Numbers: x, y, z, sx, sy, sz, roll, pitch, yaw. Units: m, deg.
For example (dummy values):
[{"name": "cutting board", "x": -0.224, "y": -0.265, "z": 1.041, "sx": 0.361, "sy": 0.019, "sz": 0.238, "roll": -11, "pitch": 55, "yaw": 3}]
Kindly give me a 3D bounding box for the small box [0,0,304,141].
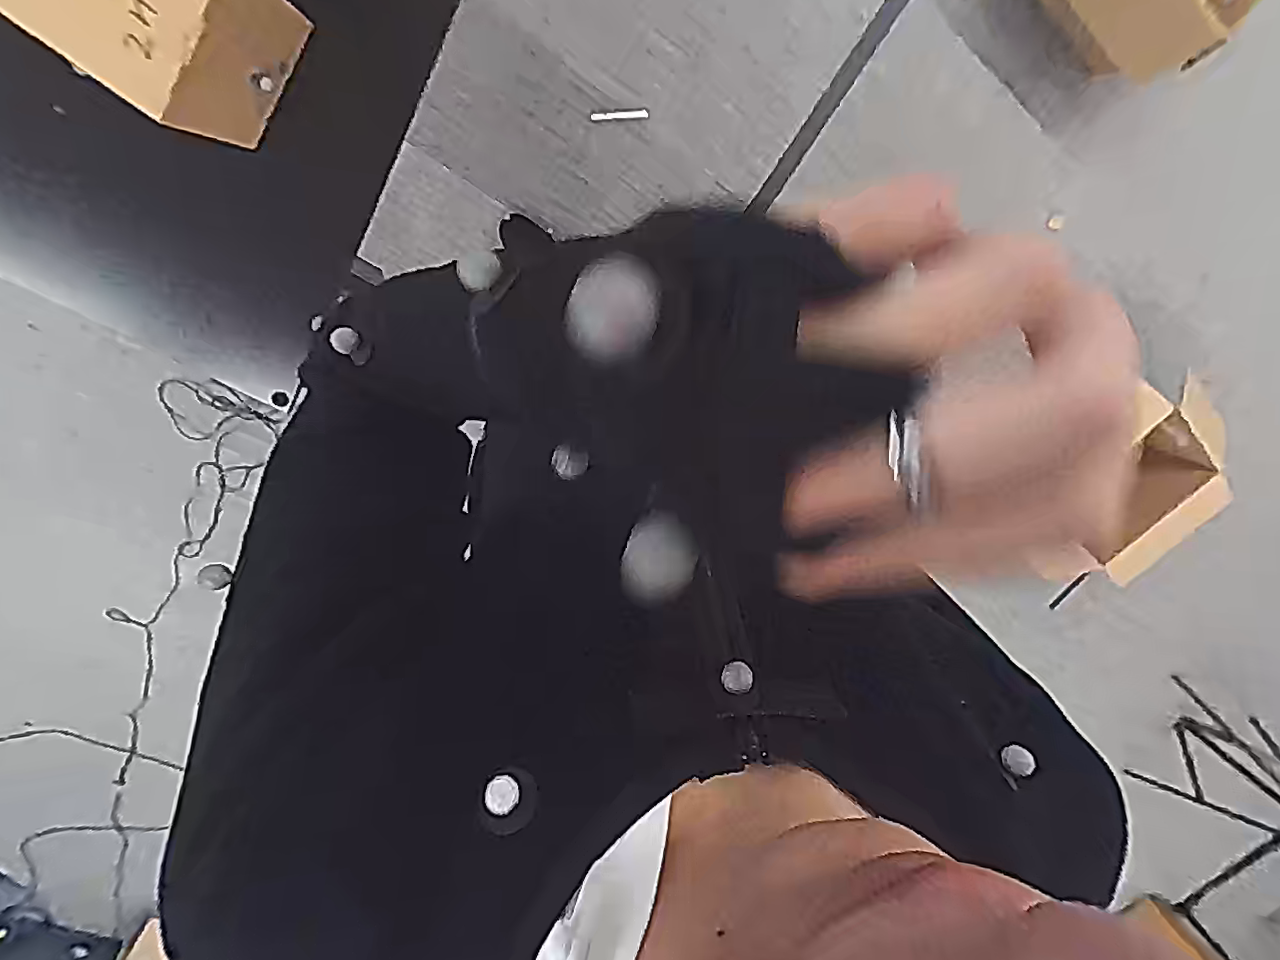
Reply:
[{"name": "small box", "x": -0.493, "y": -0.481, "z": 0.547, "sx": 0.179, "sy": 0.176, "sz": 0.168, "roll": 34, "pitch": 107, "yaw": -19}]
